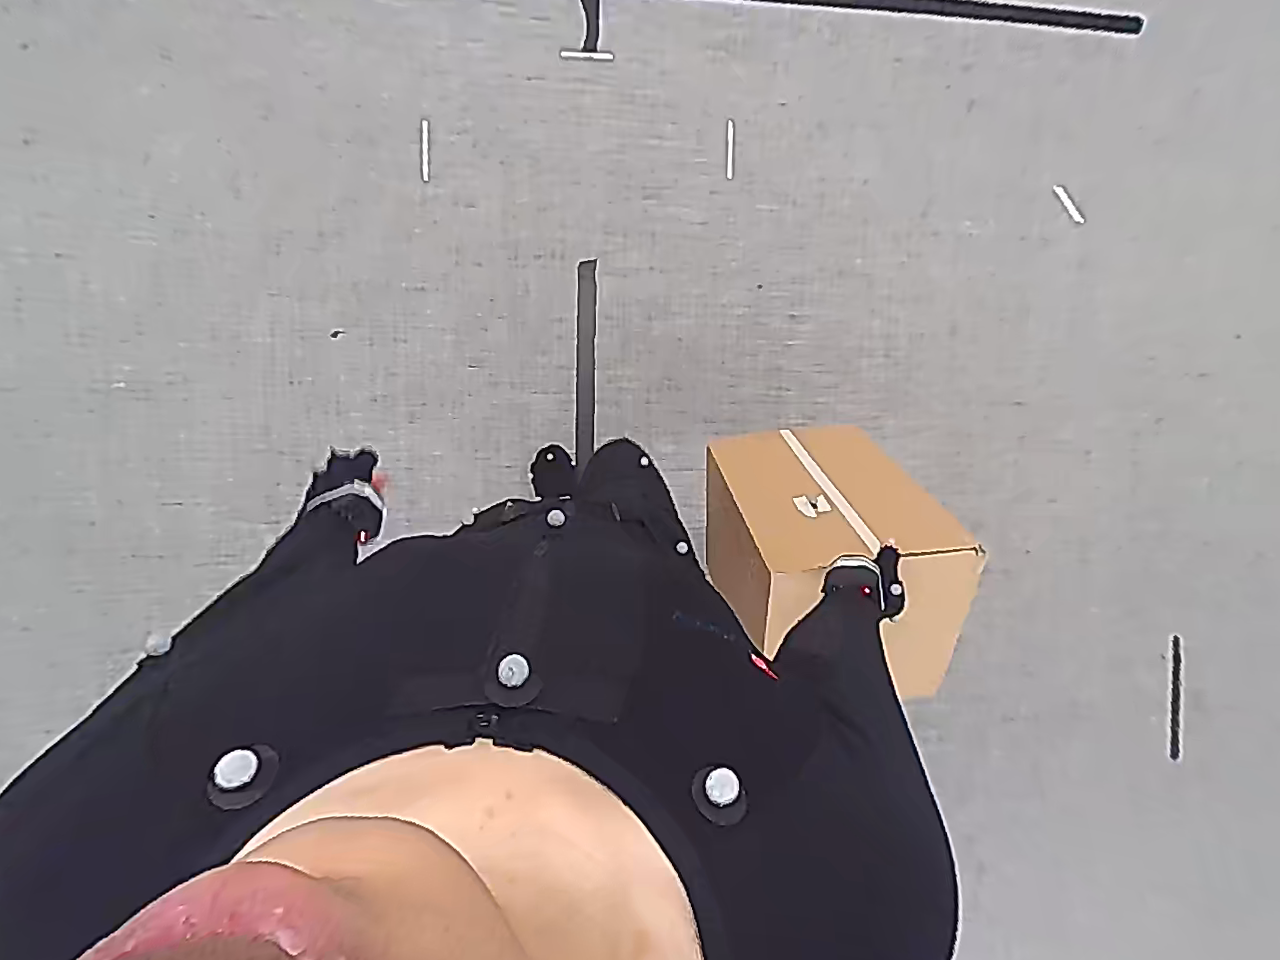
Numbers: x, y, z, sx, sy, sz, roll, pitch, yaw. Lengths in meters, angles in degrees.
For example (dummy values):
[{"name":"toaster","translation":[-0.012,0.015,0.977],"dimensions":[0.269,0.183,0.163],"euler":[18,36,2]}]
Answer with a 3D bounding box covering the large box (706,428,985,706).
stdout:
[{"name":"large box","translation":[0.320,0.138,1.000],"dimensions":[0.320,0.408,0.320],"euler":[-6,123,-4]}]
